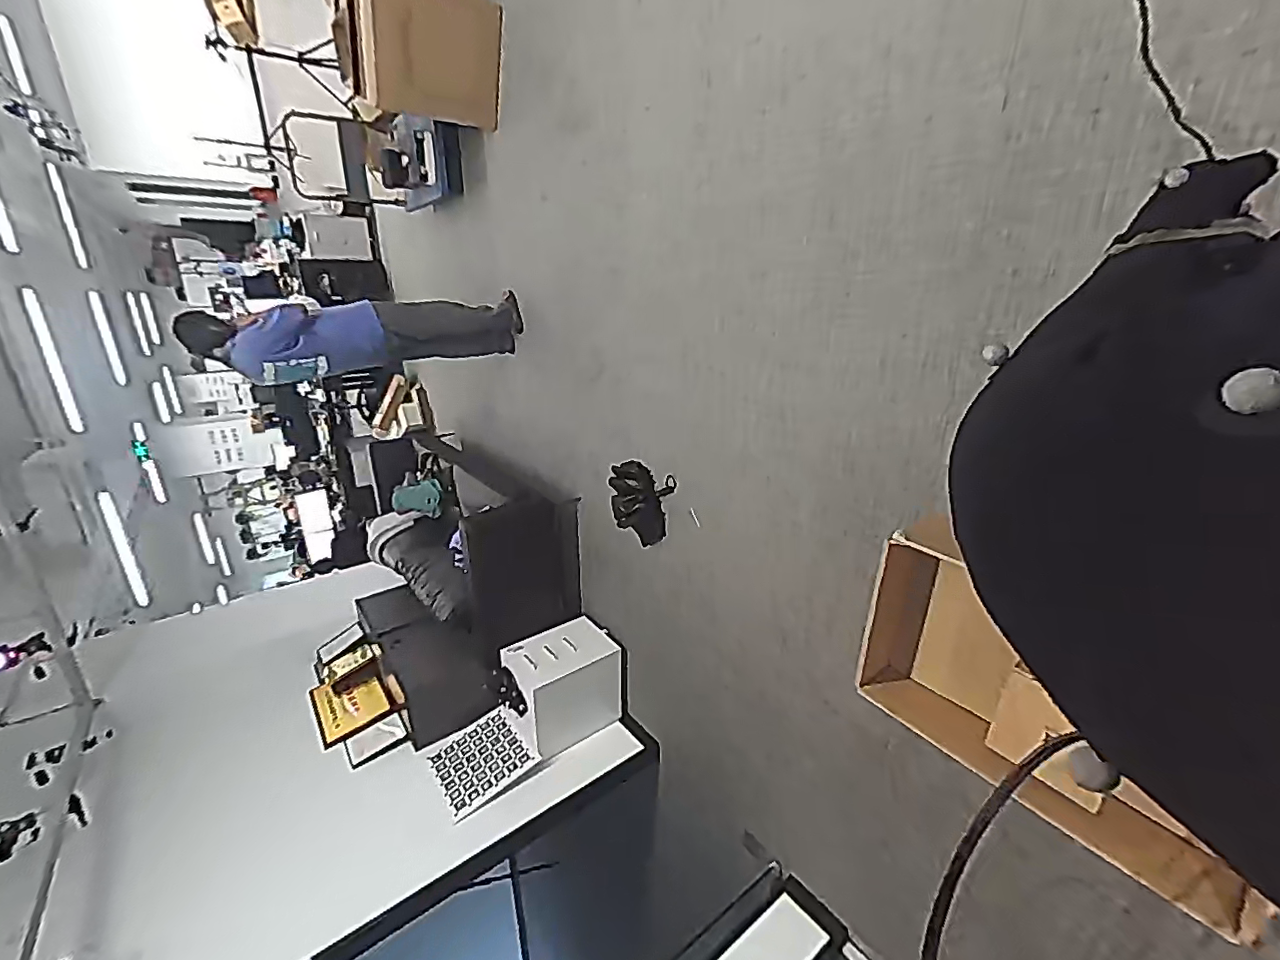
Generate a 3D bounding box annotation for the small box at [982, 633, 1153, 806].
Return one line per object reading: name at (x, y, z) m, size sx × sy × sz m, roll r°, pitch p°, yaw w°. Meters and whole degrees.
small box at (0.723, 0.391, 0.917) m, size 0.168 × 0.176 × 0.179 m, roll 28°, pitch 126°, yaw 49°
